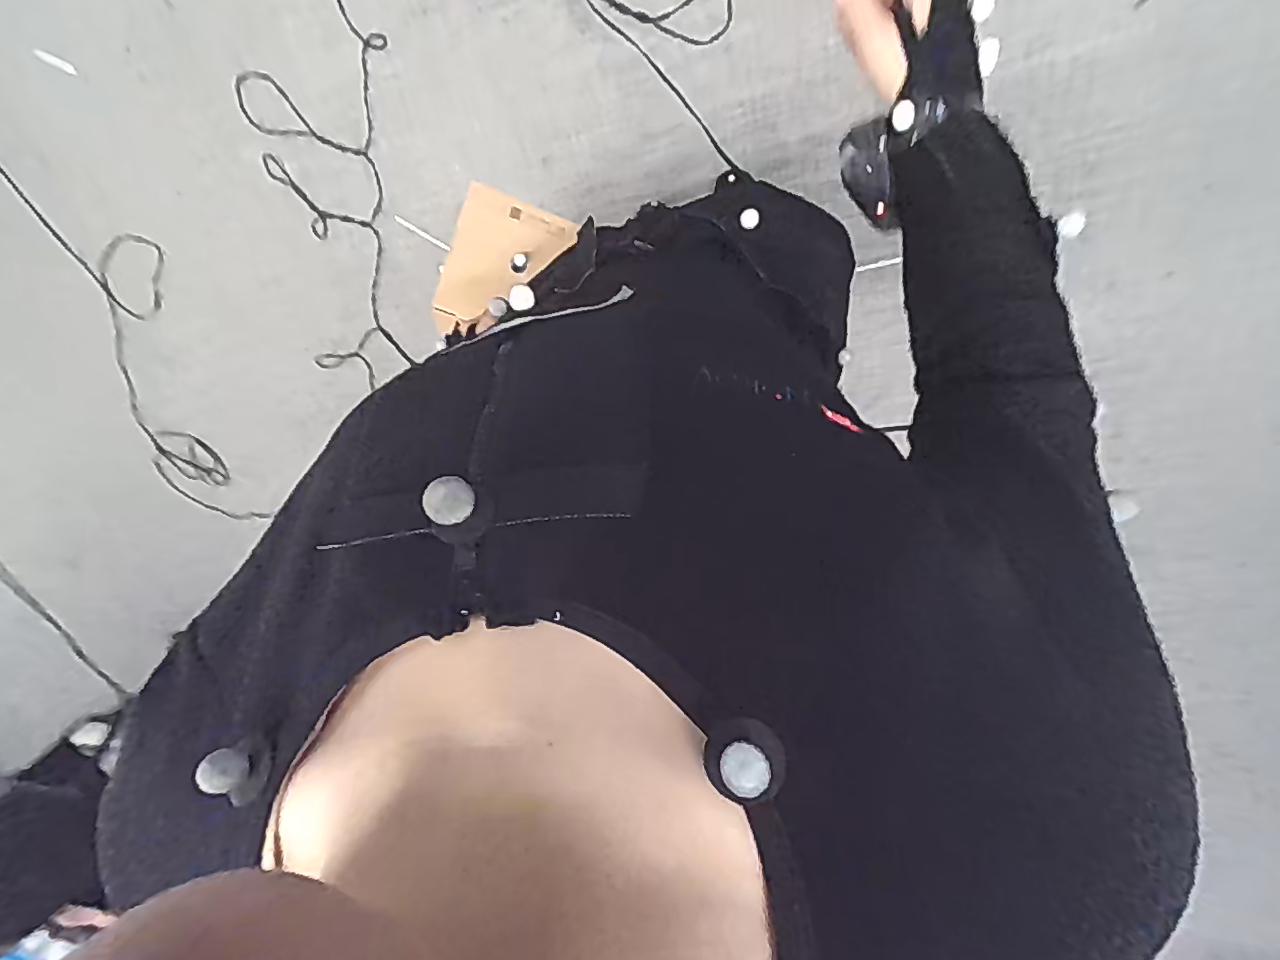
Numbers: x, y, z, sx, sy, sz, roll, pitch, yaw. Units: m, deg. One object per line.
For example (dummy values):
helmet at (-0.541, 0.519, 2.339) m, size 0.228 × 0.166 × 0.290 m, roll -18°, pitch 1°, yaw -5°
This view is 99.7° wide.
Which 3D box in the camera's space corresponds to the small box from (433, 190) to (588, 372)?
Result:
small box at (-0.182, -0.269, 0.761) m, size 0.168 × 0.179 × 0.176 m, roll 17°, pitch 87°, yaw -17°
